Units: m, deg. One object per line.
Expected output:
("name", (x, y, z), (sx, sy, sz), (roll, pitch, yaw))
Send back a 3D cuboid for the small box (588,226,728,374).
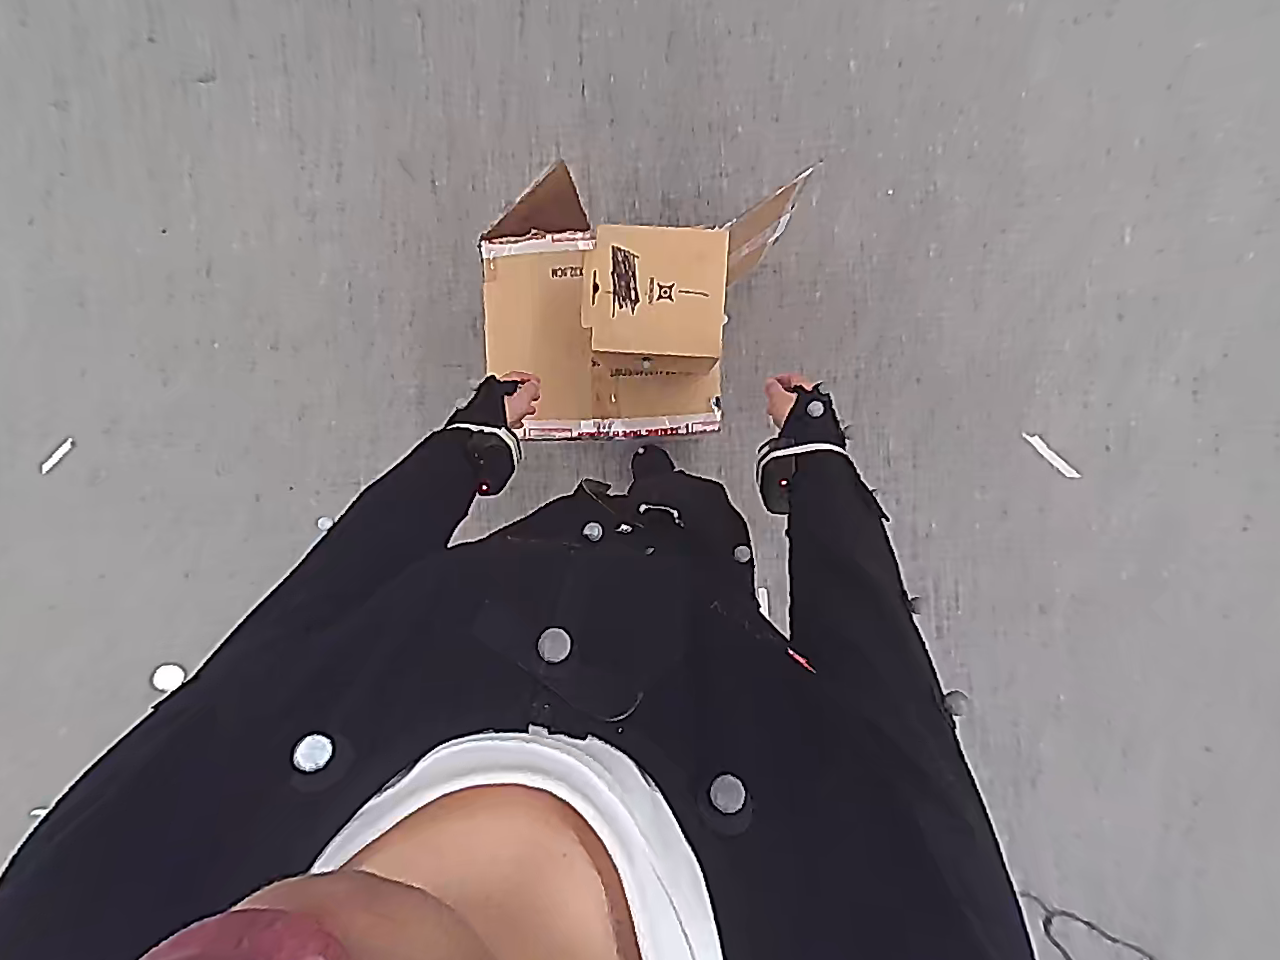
("small box", (0.026, -0.249, 0.784), (0.179, 0.176, 0.168), (3, 94, 1))
